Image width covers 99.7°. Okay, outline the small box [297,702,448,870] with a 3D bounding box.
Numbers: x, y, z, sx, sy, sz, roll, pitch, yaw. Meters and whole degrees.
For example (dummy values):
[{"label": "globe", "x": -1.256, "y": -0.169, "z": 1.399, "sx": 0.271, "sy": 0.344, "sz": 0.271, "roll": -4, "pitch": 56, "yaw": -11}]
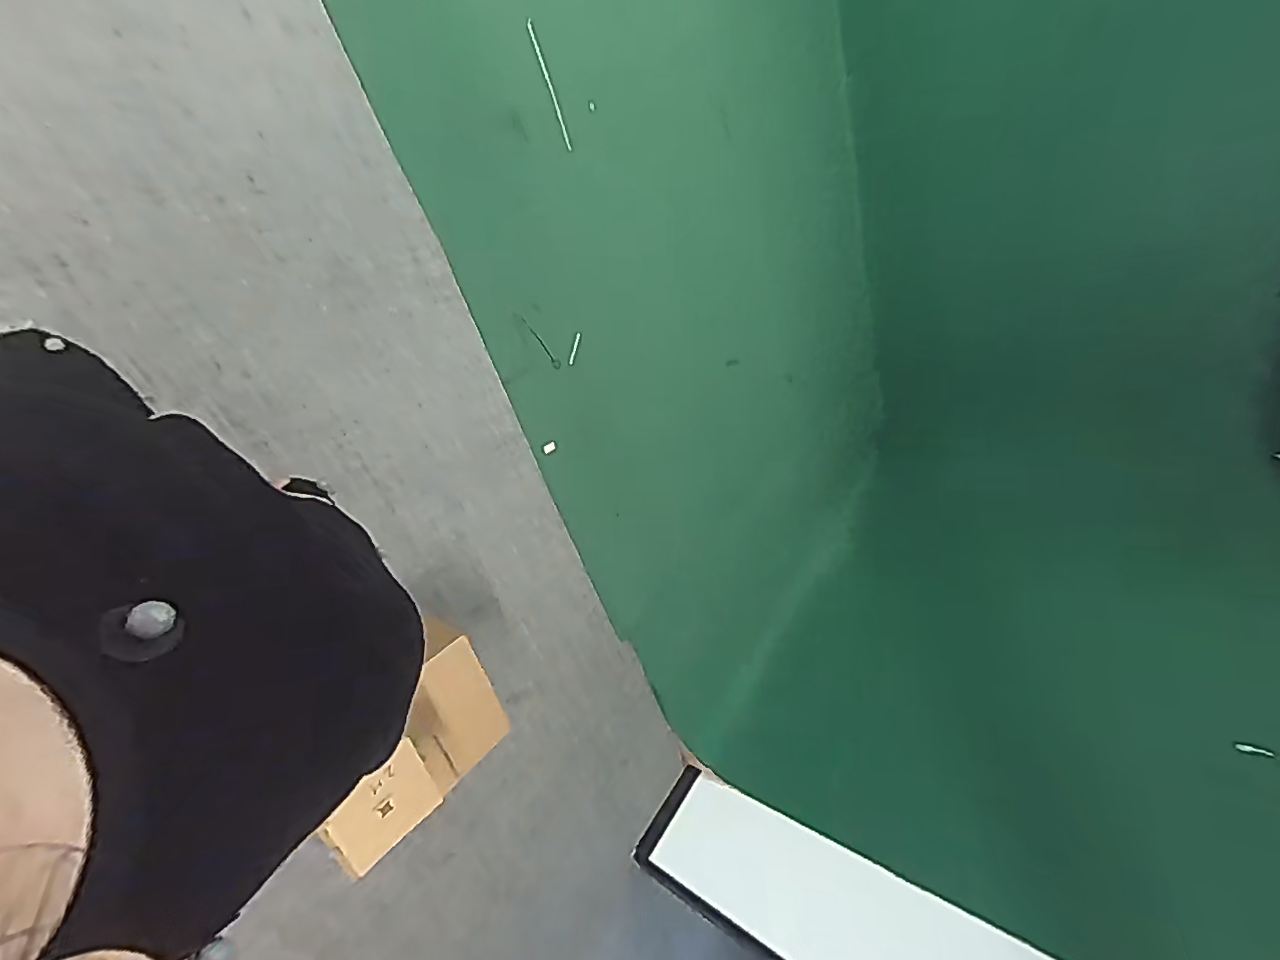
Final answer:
[{"label": "small box", "x": -0.492, "y": 0.551, "z": 0.998, "sx": 0.168, "sy": 0.176, "sz": 0.179, "roll": -34, "pitch": 119, "yaw": -39}]
